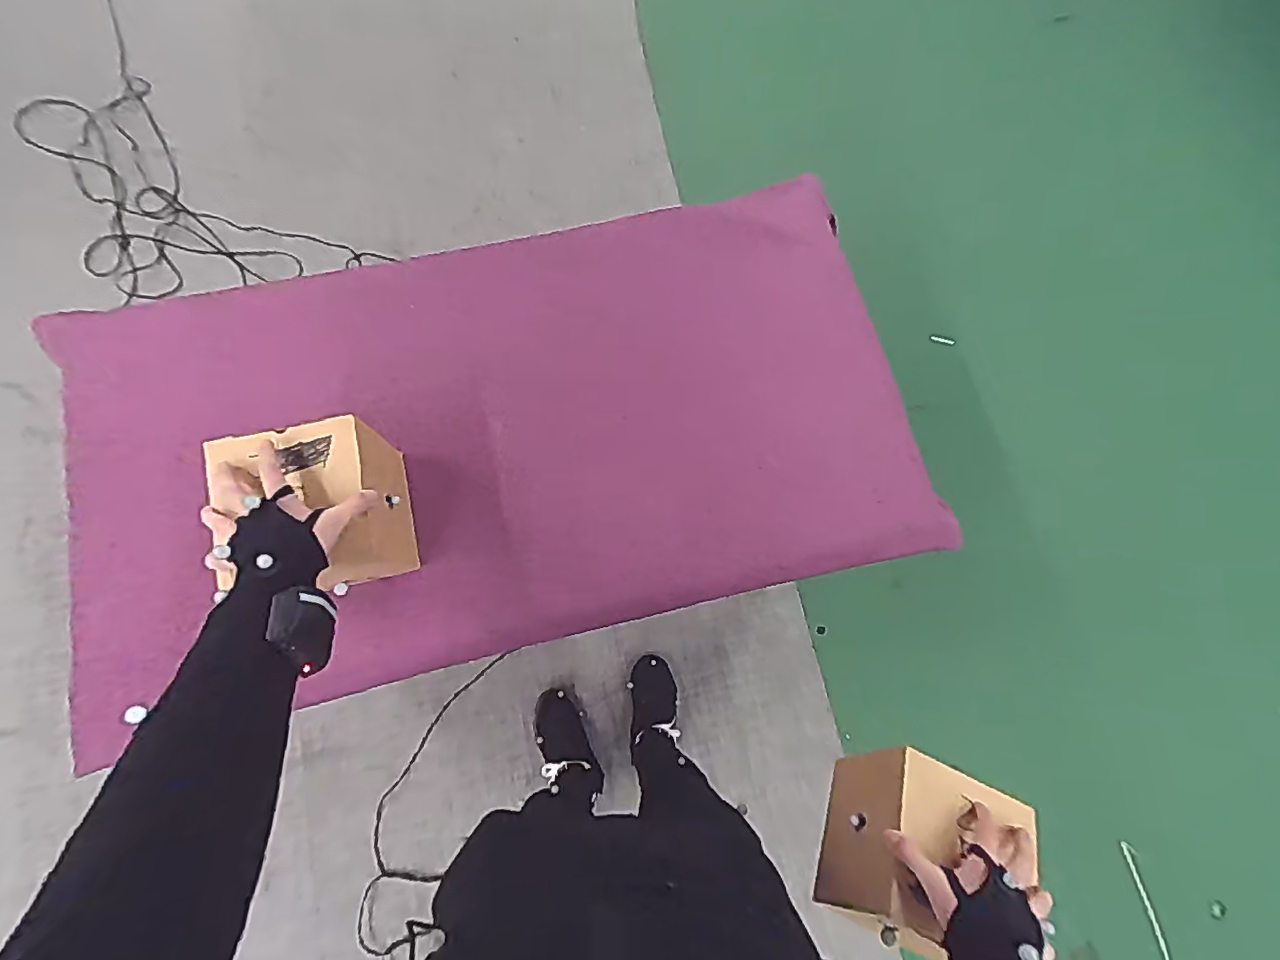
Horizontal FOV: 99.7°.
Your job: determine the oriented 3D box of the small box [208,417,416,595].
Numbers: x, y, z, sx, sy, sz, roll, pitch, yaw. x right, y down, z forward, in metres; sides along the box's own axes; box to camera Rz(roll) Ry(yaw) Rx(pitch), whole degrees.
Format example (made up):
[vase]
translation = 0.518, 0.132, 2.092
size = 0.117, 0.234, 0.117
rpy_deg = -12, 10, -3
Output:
[small box]
translation = -0.403, 0.042, 0.689
size = 0.168, 0.176, 0.179
rpy_deg = -13, 78, -8
